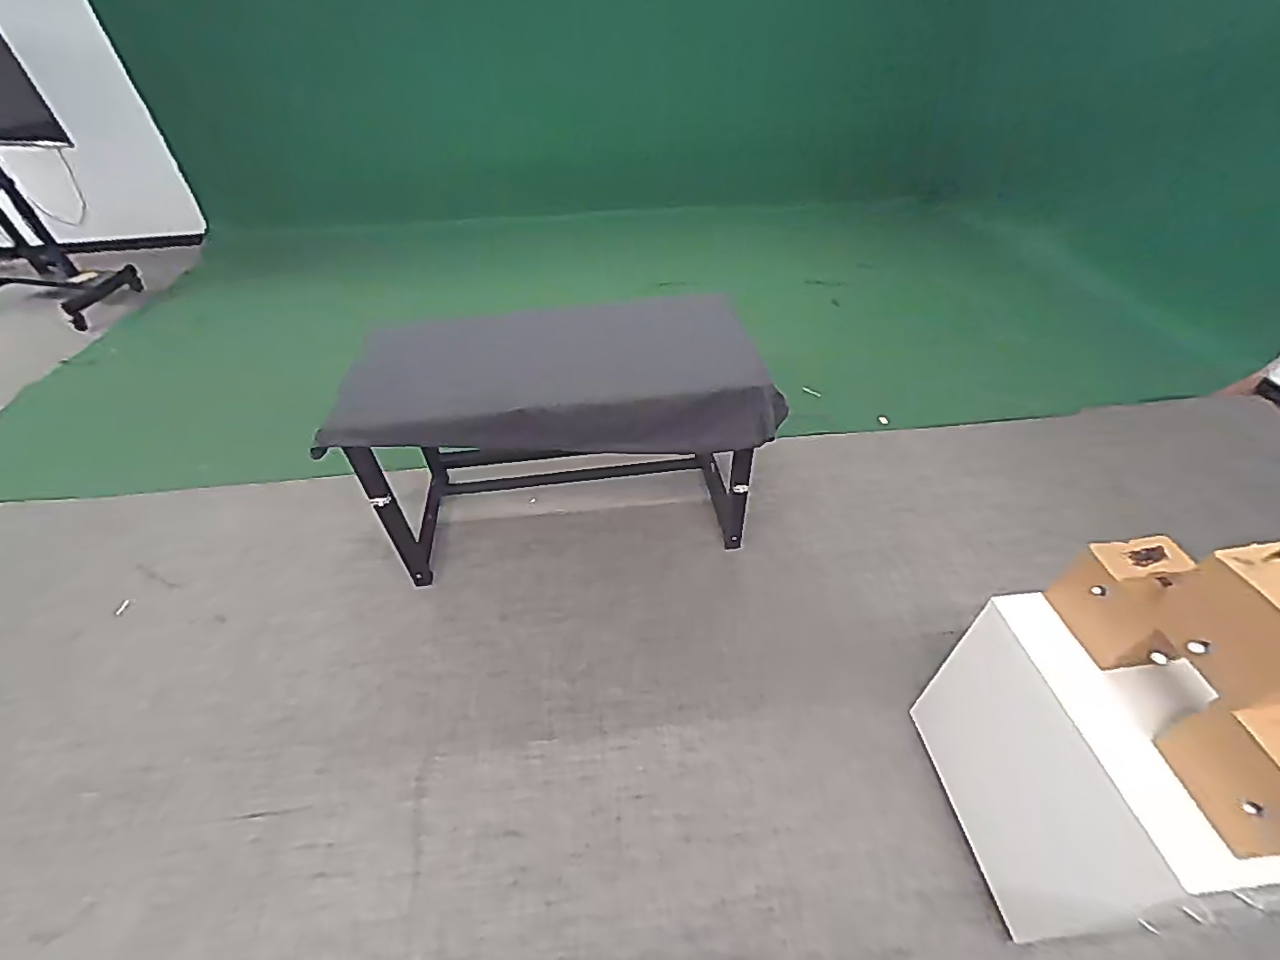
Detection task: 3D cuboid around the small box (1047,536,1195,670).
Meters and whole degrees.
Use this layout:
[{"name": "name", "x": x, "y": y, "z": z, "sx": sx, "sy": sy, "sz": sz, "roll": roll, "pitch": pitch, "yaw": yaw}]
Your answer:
[{"name": "small box", "x": 0.925, "y": 0.231, "z": 1.015, "sx": 0.168, "sy": 0.176, "sz": 0.179, "roll": -6, "pitch": 45, "yaw": -4}]

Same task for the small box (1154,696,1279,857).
[{"name": "small box", "x": 0.947, "y": 0.437, "z": 0.801, "sx": 0.168, "sy": 0.176, "sz": 0.179, "roll": -3, "pitch": 42, "yaw": -3}]

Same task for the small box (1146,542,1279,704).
[{"name": "small box", "x": 0.933, "y": 0.213, "z": 0.799, "sx": 0.168, "sy": 0.176, "sz": 0.179, "roll": -6, "pitch": 45, "yaw": -5}]
